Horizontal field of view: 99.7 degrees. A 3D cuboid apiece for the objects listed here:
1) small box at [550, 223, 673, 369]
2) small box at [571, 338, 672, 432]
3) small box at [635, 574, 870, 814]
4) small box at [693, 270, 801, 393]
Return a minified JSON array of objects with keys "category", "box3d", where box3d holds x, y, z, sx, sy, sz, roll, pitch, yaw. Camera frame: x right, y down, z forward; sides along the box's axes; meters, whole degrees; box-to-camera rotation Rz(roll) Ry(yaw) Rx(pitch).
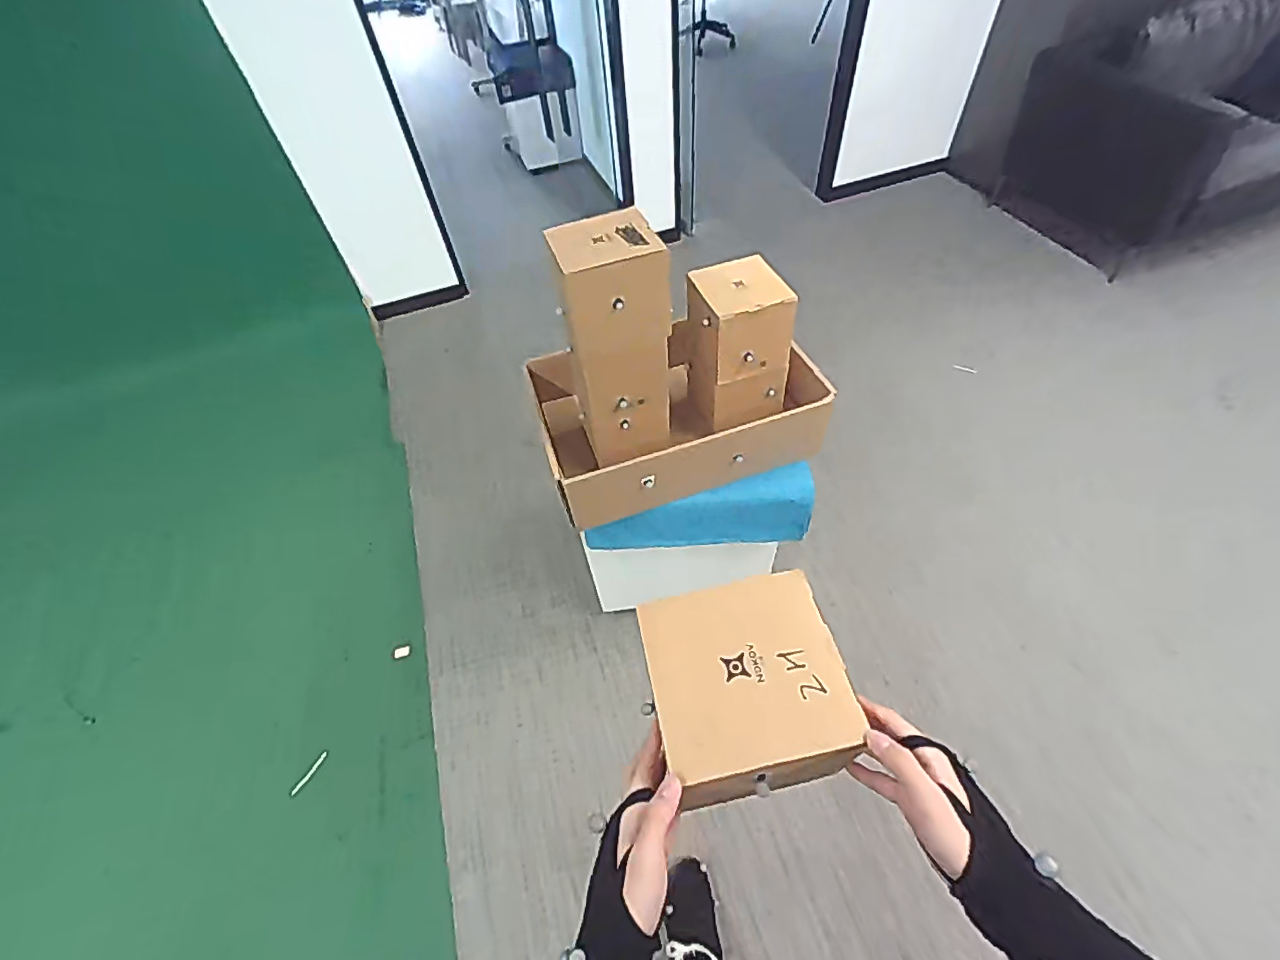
[{"category":"small box","box3d":[-0.047,-0.328,0.969,0.179,0.176,0.168,-17,50,-8]},{"category":"small box","box3d":[-0.039,-0.226,1.097,0.168,0.176,0.179,-16,51,-8]},{"category":"small box","box3d":[0.101,0.222,0.551,0.179,0.176,0.168,-11,51,-3]},{"category":"small box","box3d":[0.214,-0.312,1.140,0.168,0.176,0.179,-17,50,-7]}]
